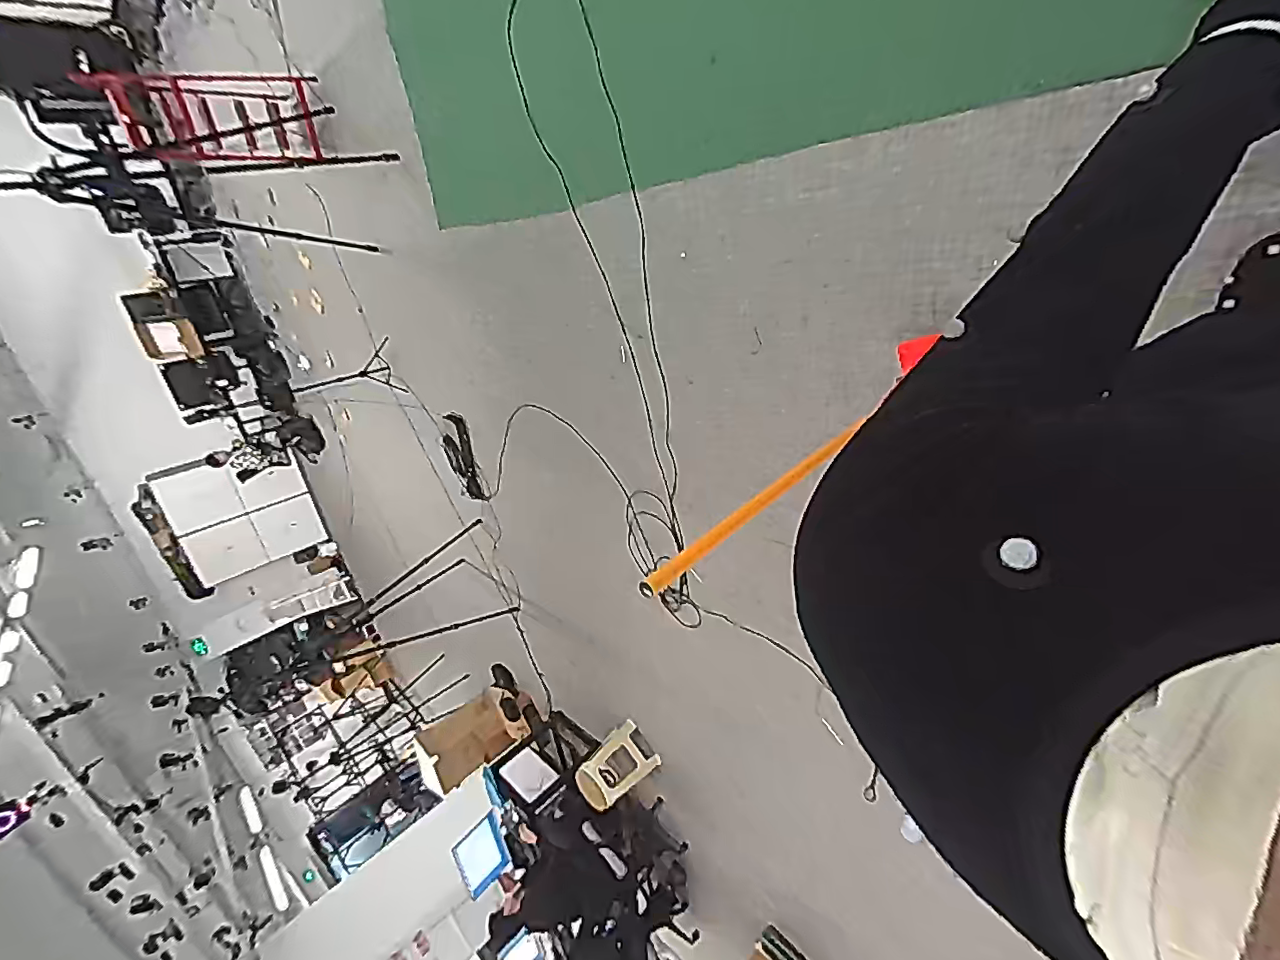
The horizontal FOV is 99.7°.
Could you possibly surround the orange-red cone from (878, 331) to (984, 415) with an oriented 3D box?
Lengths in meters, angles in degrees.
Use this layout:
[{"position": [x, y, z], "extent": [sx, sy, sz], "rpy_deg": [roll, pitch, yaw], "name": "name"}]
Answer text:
[{"position": [0.699, -0.231, 1.375], "extent": [0.199, 0.360, 0.198], "rpy_deg": [-2, 110, 51], "name": "orange-red cone"}]
